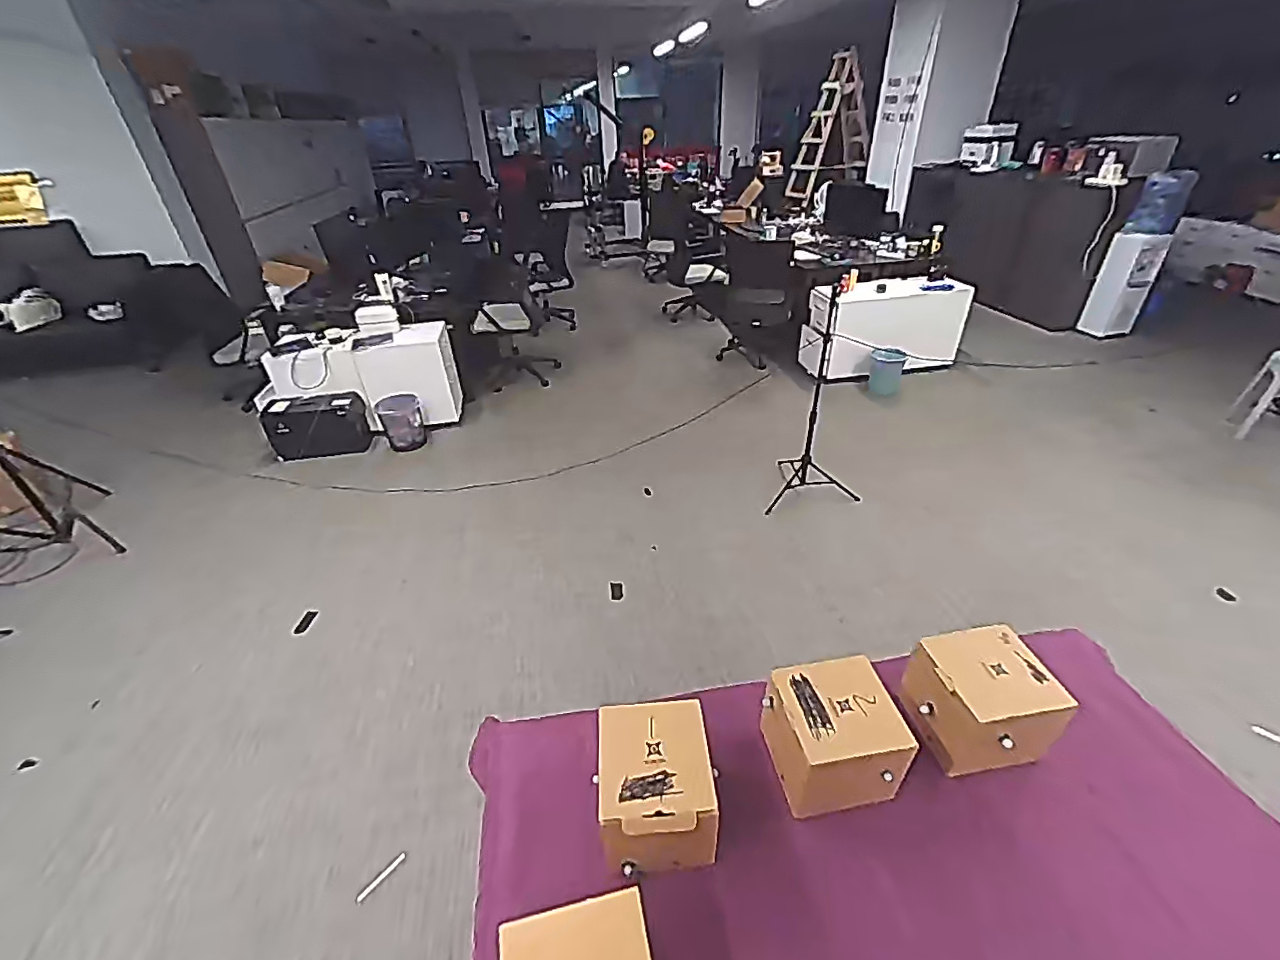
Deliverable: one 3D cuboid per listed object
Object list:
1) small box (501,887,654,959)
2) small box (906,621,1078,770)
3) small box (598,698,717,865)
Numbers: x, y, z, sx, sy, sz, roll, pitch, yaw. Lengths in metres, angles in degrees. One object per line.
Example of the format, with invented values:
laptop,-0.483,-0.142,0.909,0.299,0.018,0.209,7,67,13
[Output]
small box,-0.061,0.609,0.620,0.168,0.176,0.179,-9,45,-10
small box,0.588,0.374,0.937,0.179,0.176,0.168,-8,37,-6
small box,0.025,0.470,0.841,0.168,0.176,0.179,-4,34,-2
